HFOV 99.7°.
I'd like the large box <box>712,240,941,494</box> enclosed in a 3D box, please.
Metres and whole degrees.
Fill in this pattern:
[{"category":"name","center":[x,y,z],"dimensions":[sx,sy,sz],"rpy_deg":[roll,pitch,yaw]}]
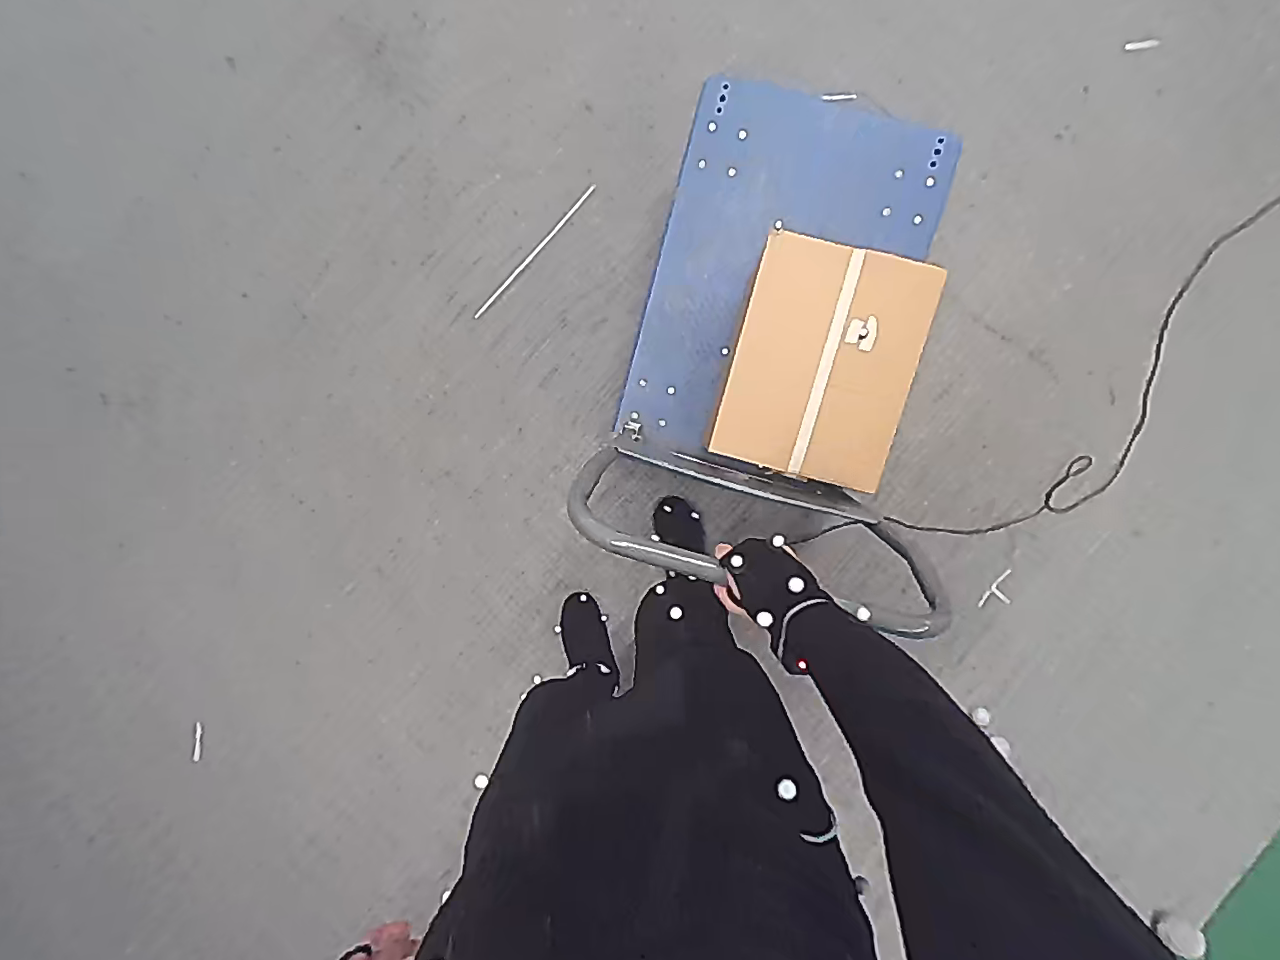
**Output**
[{"category":"large box","center":[0.345,-0.211,1.115],"dimensions":[0.320,0.320,0.408],"rpy_deg":[14,97,3]}]
